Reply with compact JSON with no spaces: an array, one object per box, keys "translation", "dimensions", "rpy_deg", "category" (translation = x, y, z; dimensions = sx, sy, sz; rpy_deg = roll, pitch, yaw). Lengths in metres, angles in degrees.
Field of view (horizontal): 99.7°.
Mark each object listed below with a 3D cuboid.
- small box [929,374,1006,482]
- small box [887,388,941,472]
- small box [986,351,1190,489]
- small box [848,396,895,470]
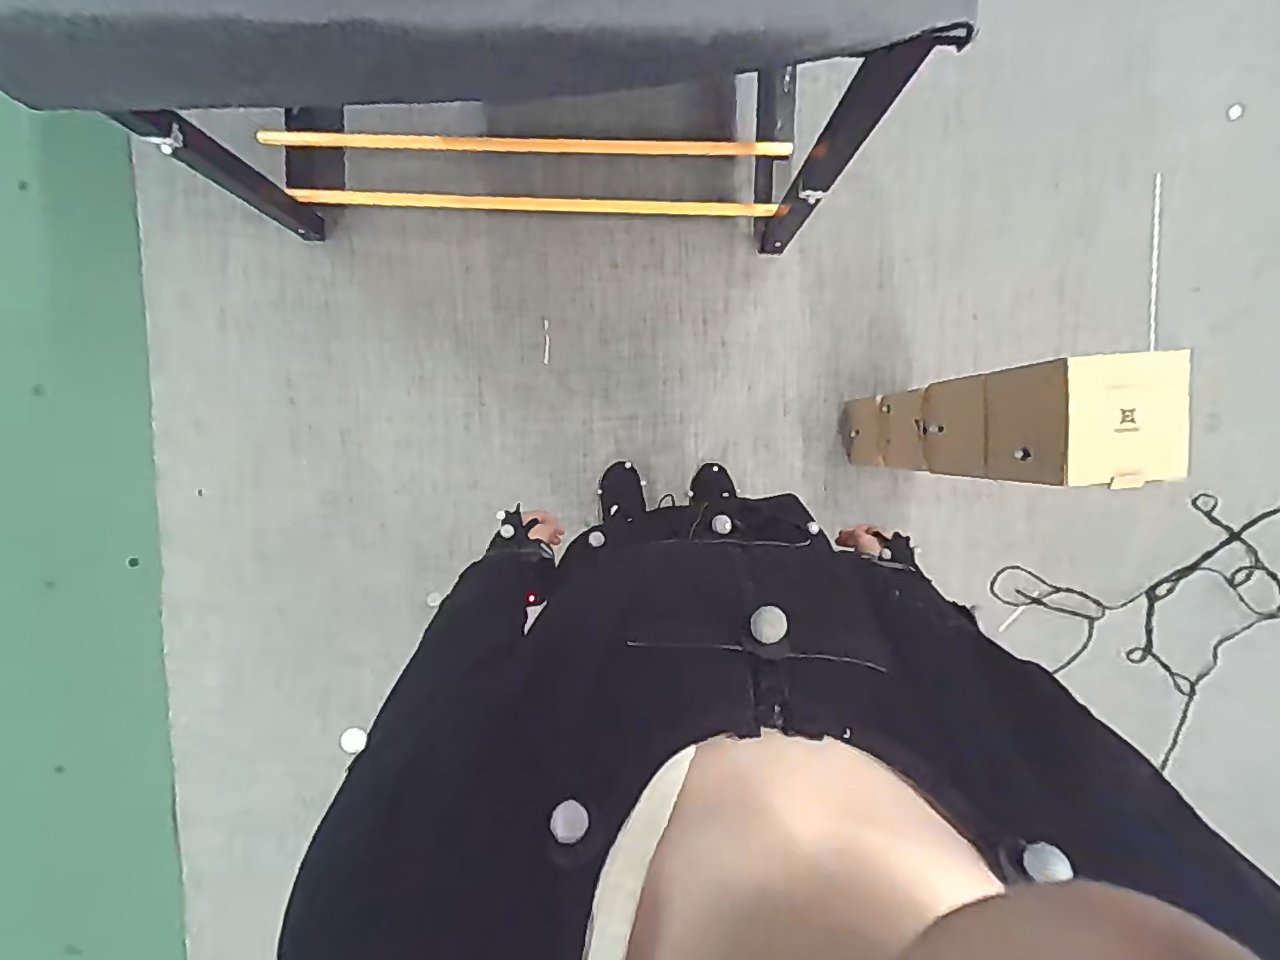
[{"translation":[0.634,-0.095,0.954],"dimensions":[0.168,0.176,0.179],"rpy_deg":[-4,94,-1],"category":"small box"},{"translation":[0.629,-0.104,1.117],"dimensions":[0.179,0.176,0.168],"rpy_deg":[-5,94,-1],"category":"small box"},{"translation":[0.639,-0.083,0.791],"dimensions":[0.168,0.176,0.179],"rpy_deg":[-4,93,-1],"category":"small box"},{"translation":[0.616,-0.114,1.281],"dimensions":[0.179,0.176,0.168],"rpy_deg":[-5,93,0],"category":"small box"}]
